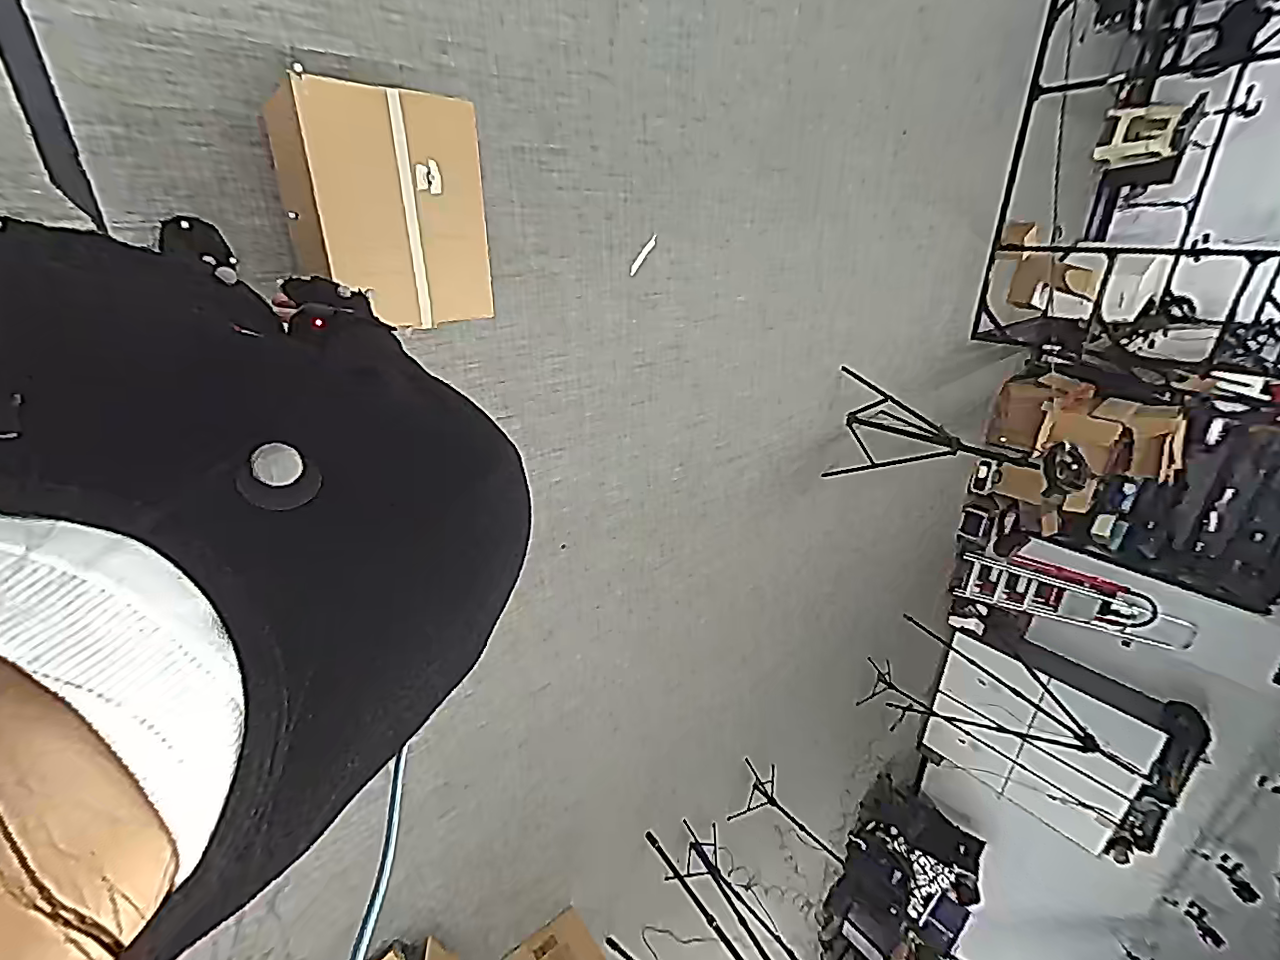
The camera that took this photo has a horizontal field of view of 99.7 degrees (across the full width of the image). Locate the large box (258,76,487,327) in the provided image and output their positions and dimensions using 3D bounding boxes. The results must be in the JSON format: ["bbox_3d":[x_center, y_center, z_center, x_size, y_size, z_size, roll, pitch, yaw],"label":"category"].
[{"bbox_3d":[-0.557,-0.556,1.146,0.320,0.320,0.408,-19,120,-38],"label":"large box"}]
